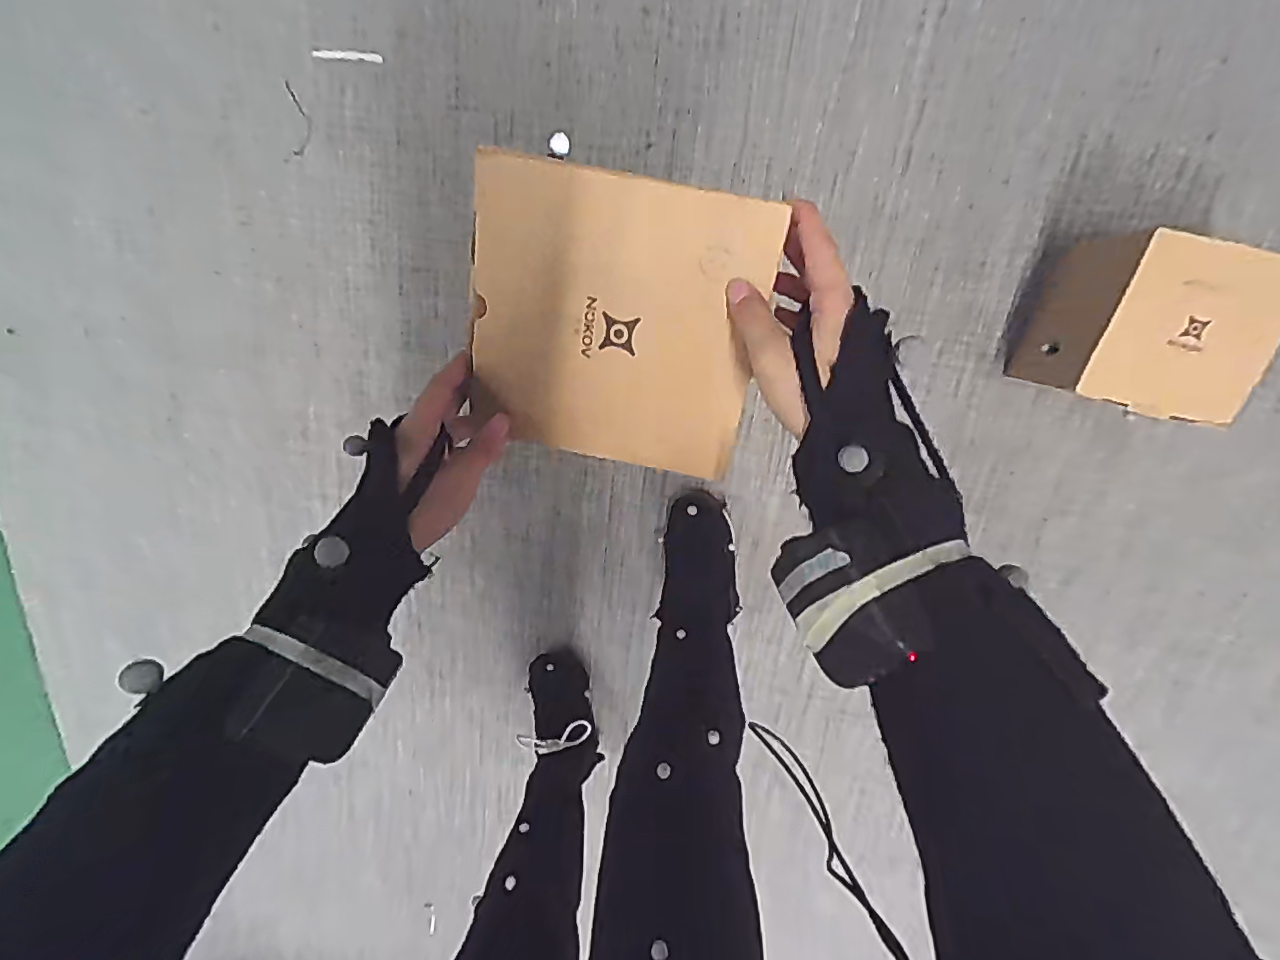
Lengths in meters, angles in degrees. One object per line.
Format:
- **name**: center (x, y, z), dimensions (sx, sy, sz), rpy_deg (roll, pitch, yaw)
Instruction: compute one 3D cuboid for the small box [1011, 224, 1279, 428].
- **small box**: center (0.582, -0.179, 0.637), dimensions (0.168, 0.176, 0.179), rpy_deg (15, 108, 4)
